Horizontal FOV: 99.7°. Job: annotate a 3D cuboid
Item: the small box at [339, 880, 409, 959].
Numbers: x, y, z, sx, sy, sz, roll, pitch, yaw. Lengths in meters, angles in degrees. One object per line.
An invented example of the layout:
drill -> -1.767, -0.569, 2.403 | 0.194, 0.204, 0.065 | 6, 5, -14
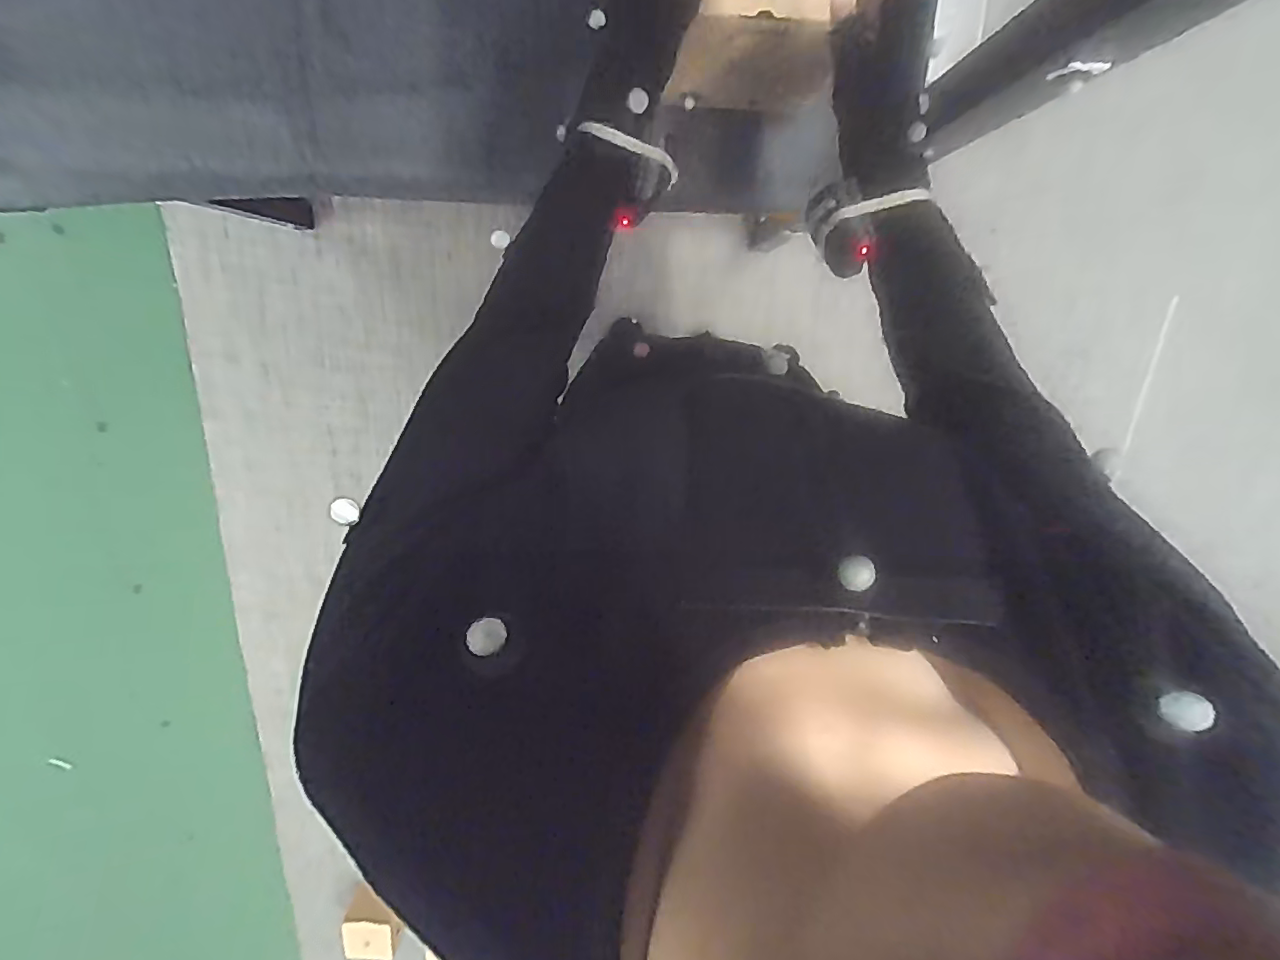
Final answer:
small box -> -0.923, 1.552, 1.891 | 0.168, 0.176, 0.179 | 5, 106, -1

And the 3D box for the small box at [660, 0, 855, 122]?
small box -> 0.108, -0.479, 0.525 | 0.168, 0.176, 0.179 | 4, 101, 0
